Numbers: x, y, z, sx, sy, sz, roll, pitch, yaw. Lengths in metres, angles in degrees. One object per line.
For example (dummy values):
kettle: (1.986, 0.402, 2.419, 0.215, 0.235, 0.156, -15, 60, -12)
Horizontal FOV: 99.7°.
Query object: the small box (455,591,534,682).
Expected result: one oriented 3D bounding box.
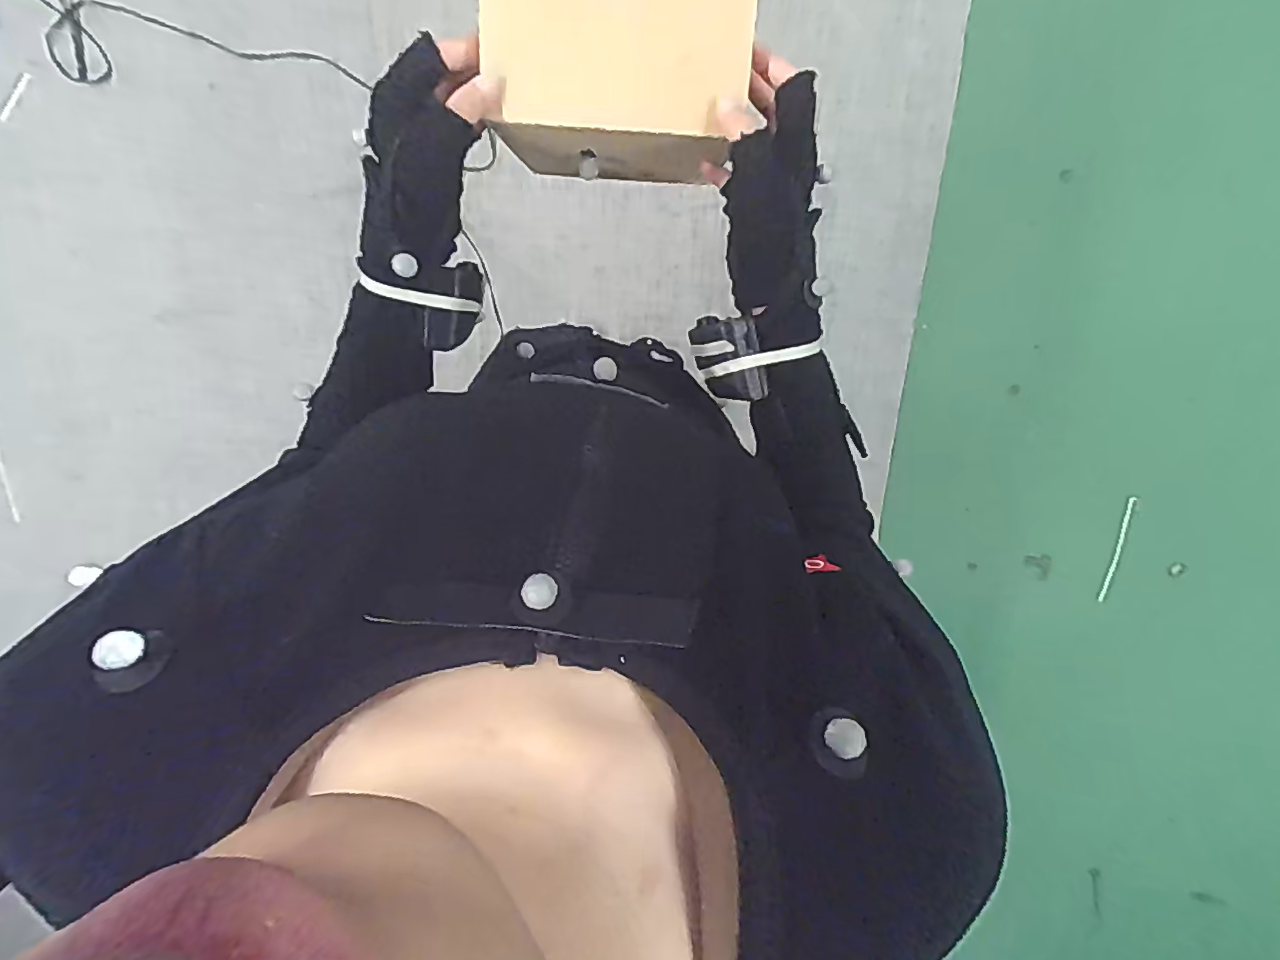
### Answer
small box: (-0.377, 0.406, 1.426, 0.168, 0.176, 0.179, 1, 105, 1)
